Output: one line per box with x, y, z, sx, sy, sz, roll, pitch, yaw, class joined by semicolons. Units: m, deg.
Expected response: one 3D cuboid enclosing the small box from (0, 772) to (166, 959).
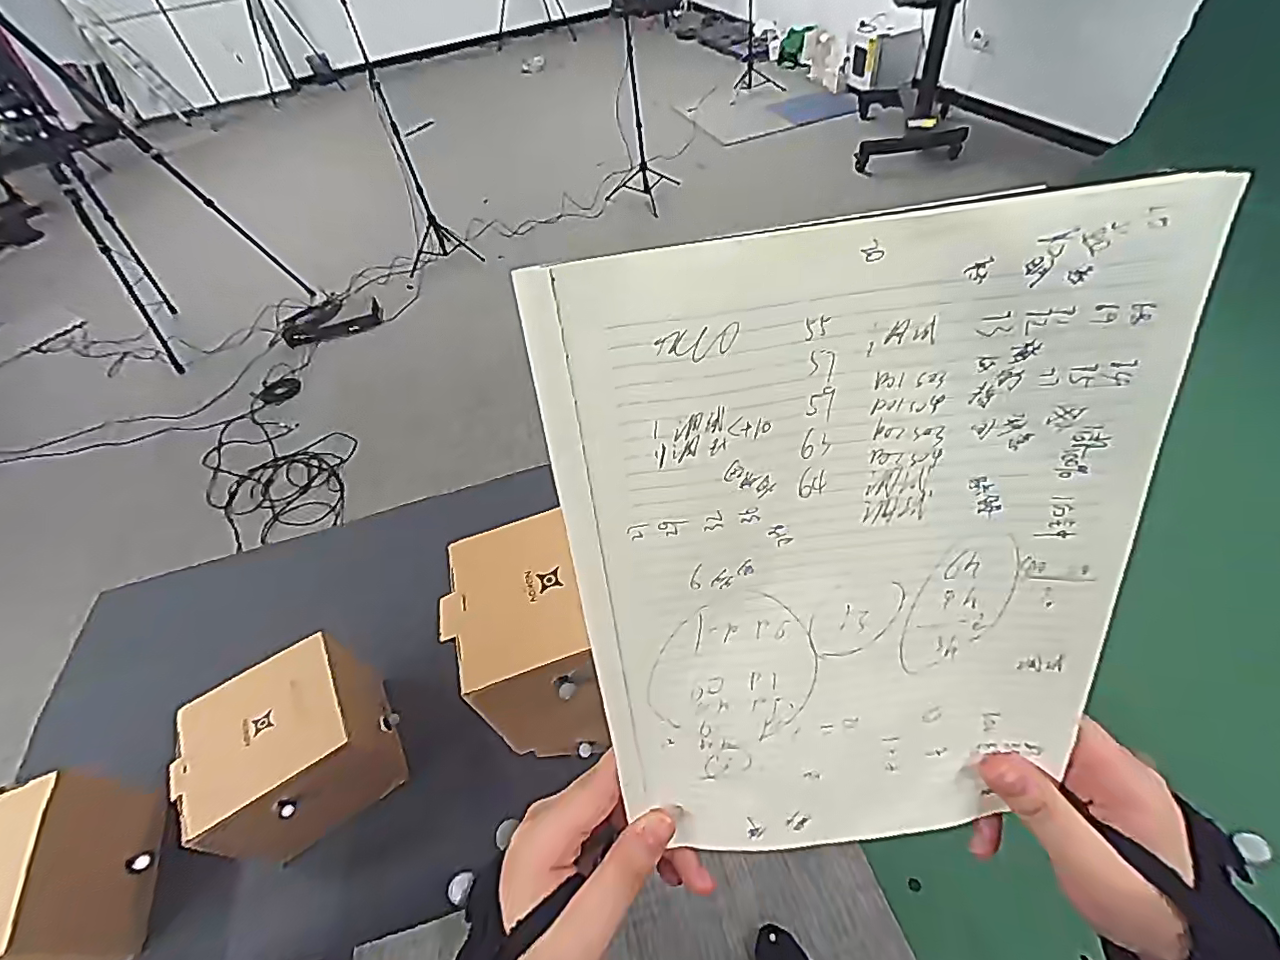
-0.693;0.473;0.612;0.168;0.176;0.179;-22;50;-10;small box

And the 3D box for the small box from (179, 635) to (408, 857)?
-0.430;0.339;0.686;0.179;0.176;0.168;-30;52;-17;small box

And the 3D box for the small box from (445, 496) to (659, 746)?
-0.085;0.150;0.571;0.179;0.176;0.168;-19;48;-6;small box

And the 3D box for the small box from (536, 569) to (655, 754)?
-0.073;0.239;0.708;0.168;0.176;0.179;-7;49;5;small box
